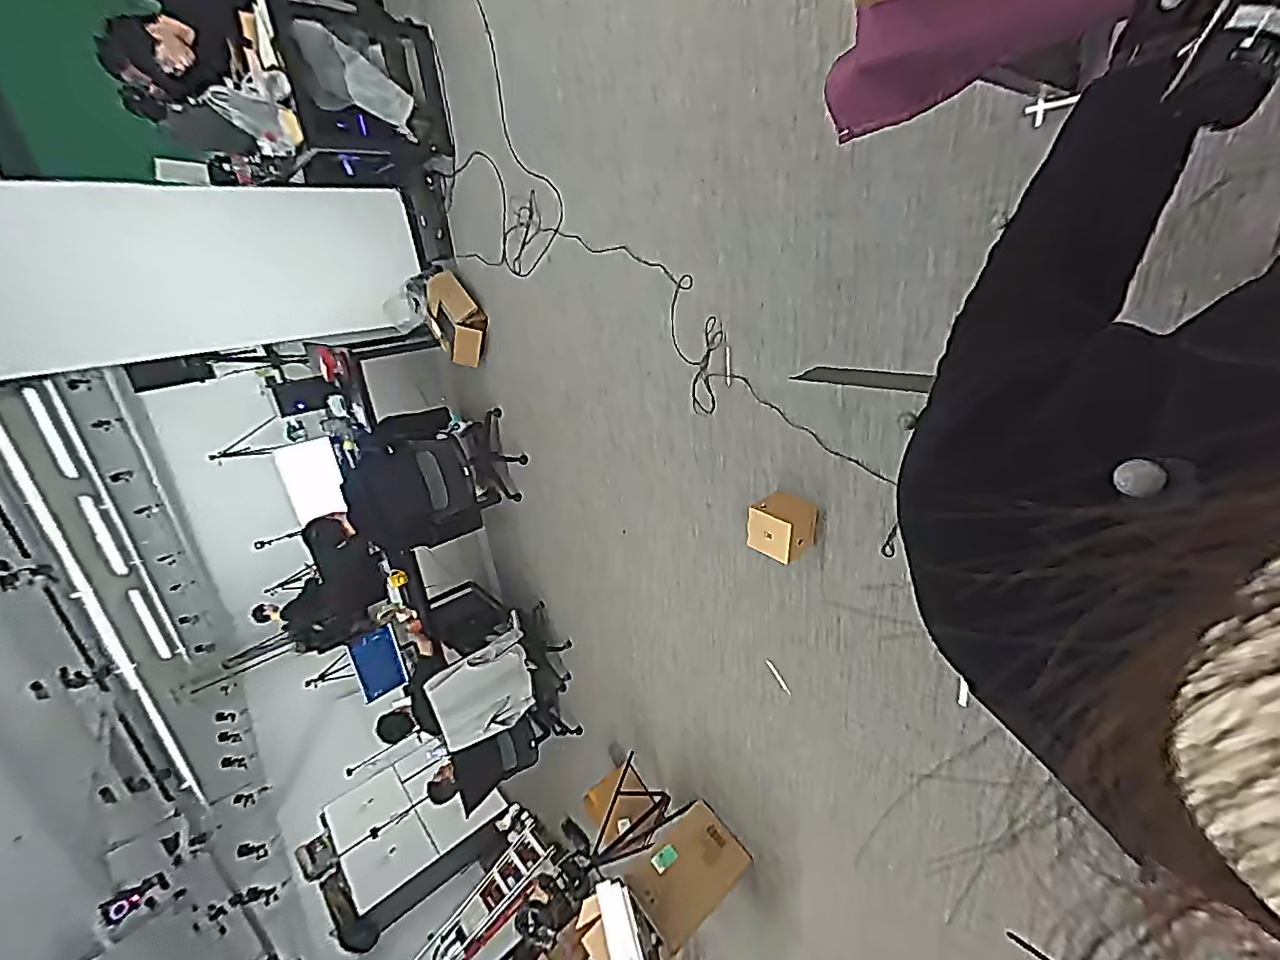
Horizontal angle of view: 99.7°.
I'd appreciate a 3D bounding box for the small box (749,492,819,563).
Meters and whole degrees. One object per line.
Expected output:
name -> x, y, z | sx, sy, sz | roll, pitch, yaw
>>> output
small box -> 0.509, 0.161, 1.907 | 0.179, 0.176, 0.168 | 26, 128, 43
